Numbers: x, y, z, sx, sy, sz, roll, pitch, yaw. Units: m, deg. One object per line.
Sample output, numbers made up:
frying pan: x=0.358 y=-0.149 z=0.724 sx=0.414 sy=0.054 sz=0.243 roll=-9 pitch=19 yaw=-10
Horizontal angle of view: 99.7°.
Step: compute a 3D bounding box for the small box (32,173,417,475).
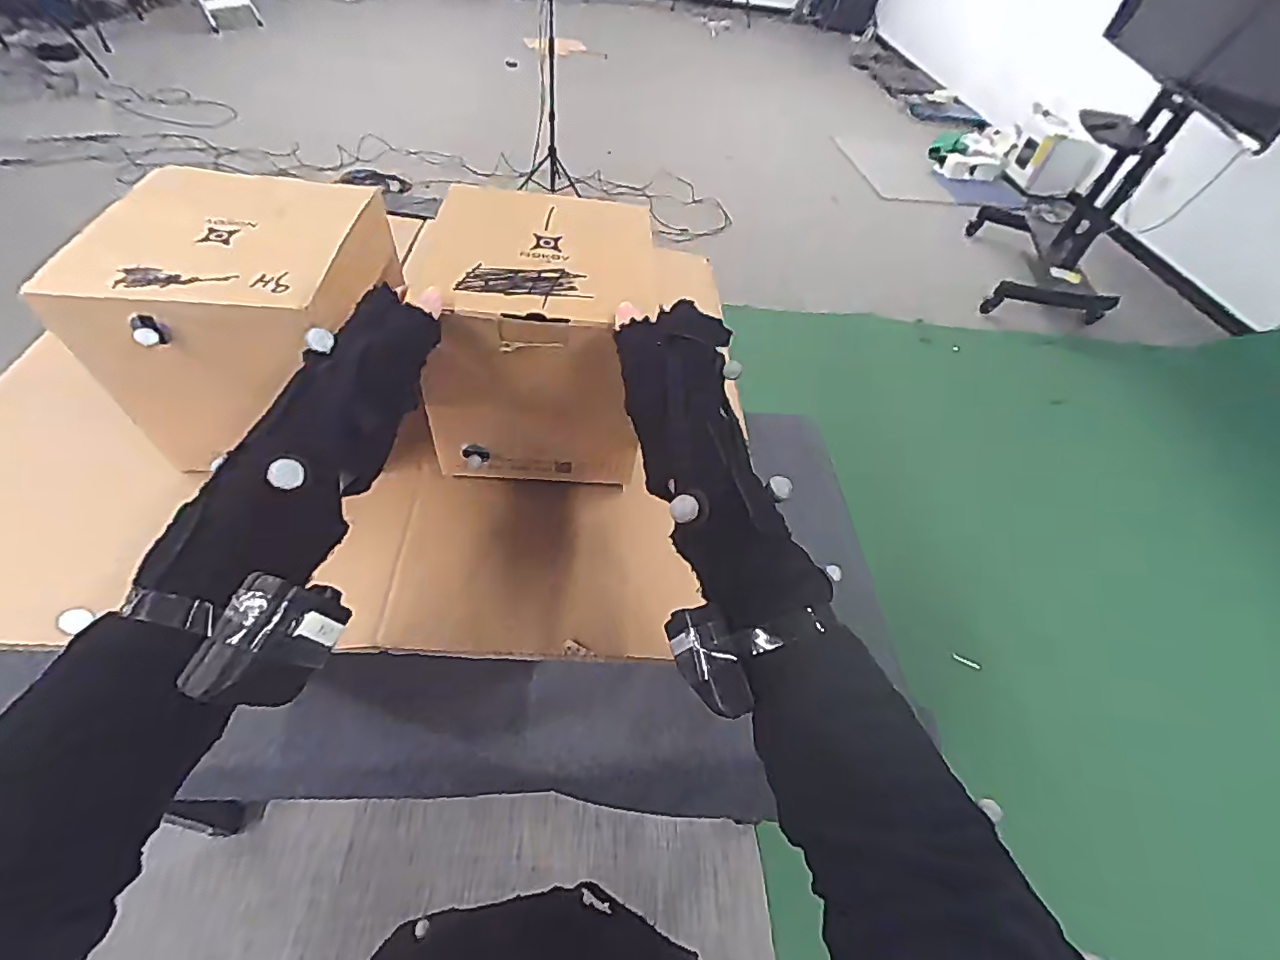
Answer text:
small box: x=-0.301 y=-0.126 z=0.450 sx=0.168 sy=0.176 sz=0.179 roll=2 pitch=50 yaw=-4
